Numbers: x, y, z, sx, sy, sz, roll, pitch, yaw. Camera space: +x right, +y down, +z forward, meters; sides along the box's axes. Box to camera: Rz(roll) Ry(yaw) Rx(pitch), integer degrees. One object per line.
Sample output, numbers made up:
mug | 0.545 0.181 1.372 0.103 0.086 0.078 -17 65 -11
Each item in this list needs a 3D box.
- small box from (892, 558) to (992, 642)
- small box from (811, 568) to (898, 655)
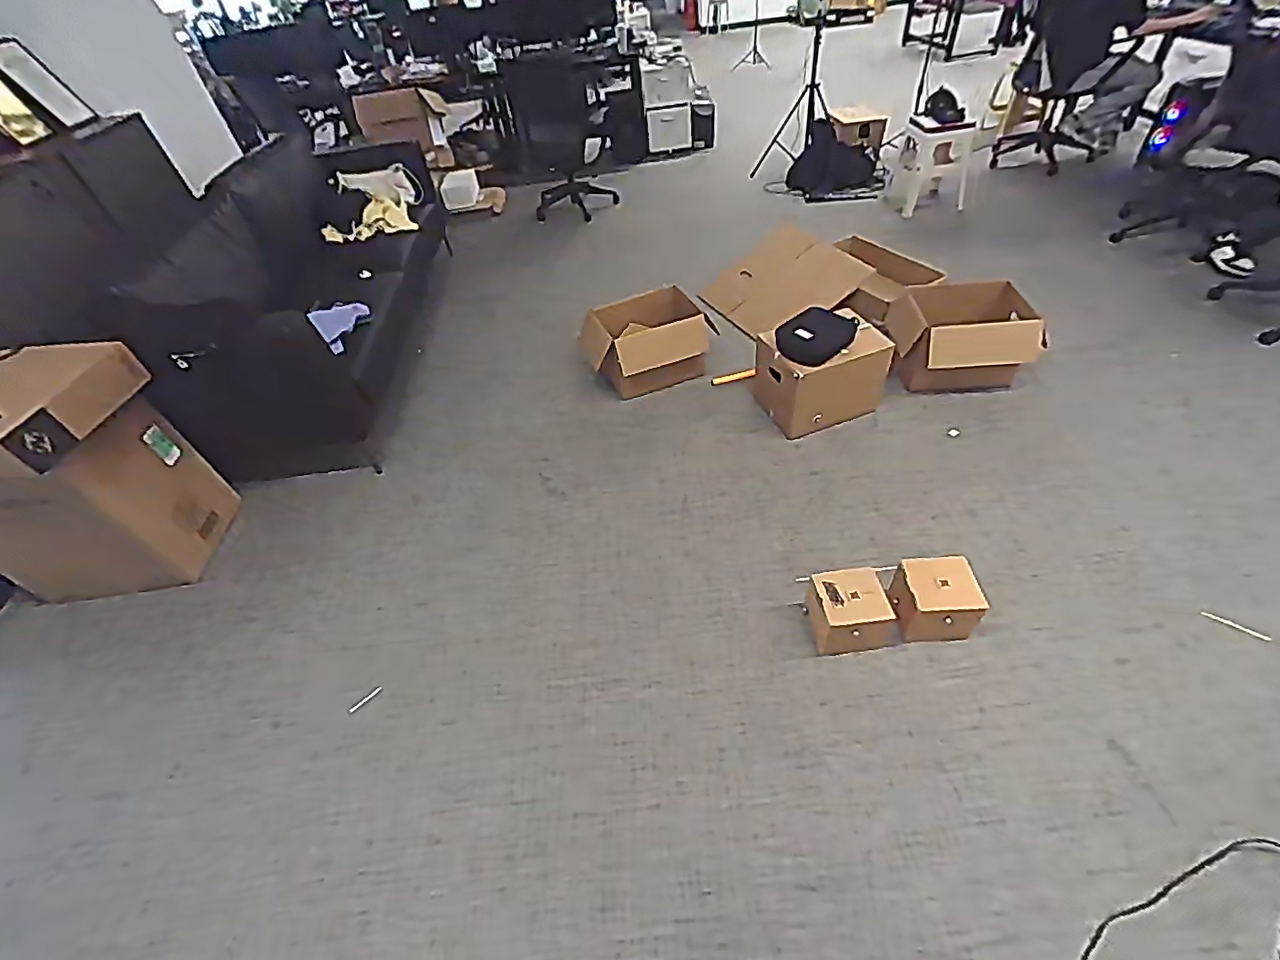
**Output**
small box | 0.827 0.336 1.501 0.179 0.176 0.168 -5 46 6
small box | 0.584 0.370 1.506 0.179 0.176 0.168 -7 46 1
